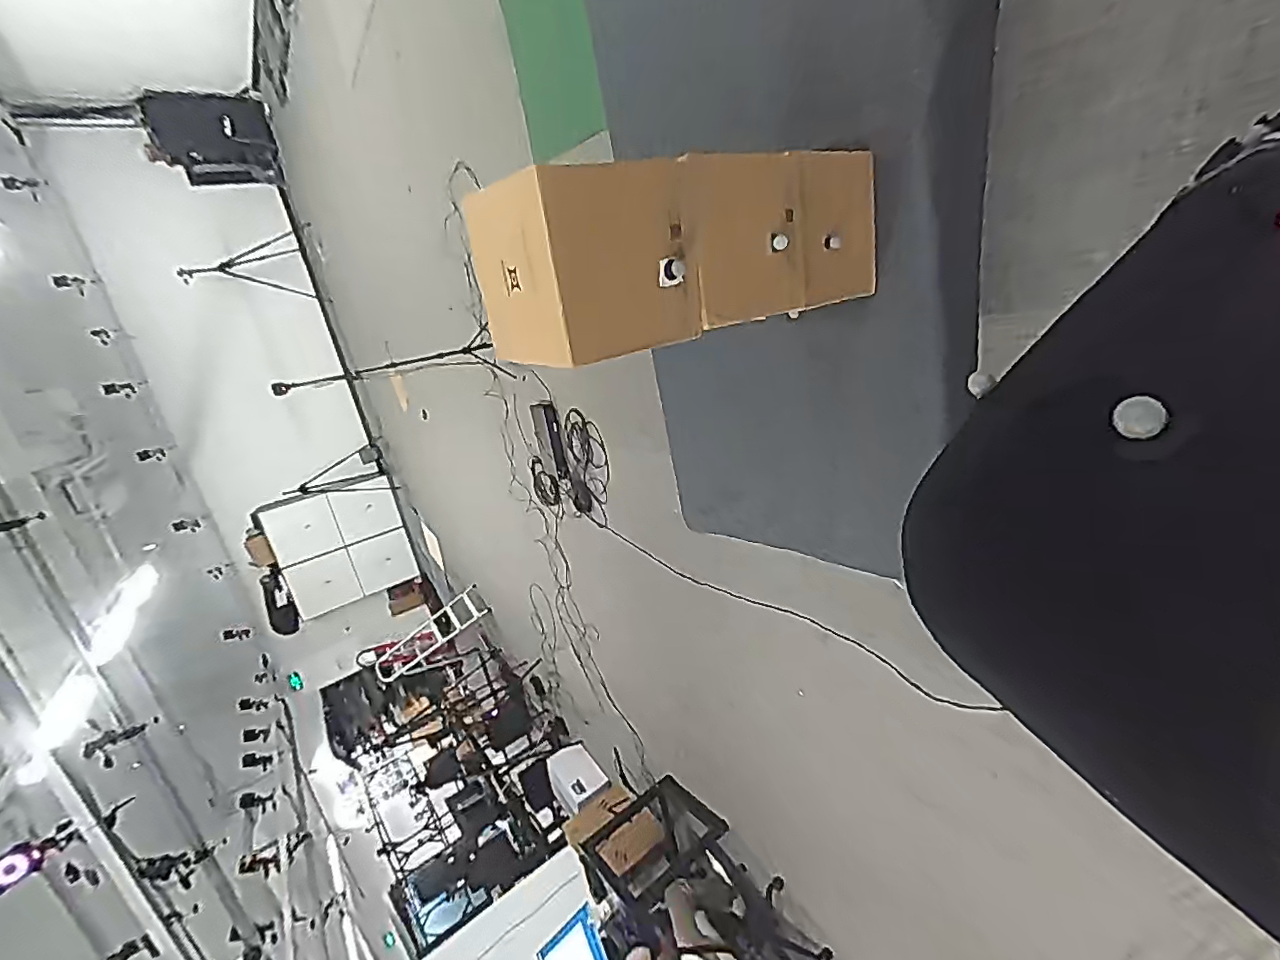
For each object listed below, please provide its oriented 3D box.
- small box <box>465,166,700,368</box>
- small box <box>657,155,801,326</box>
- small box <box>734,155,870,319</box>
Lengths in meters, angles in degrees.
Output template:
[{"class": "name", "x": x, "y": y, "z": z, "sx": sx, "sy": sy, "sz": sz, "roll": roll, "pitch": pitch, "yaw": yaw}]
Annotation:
[{"class": "small box", "x": -0.059, "y": -0.223, "z": 0.577, "sx": 0.179, "sy": 0.176, "sz": 0.168, "roll": 19, "pitch": 126, "yaw": 50}, {"class": "small box", "x": 0.069, "y": -0.277, "z": 0.660, "sx": 0.179, "sy": 0.176, "sz": 0.168, "roll": 14, "pitch": 120, "yaw": 56}, {"class": "small box", "x": 0.198, "y": -0.329, "z": 0.747, "sx": 0.168, "sy": 0.176, "sz": 0.179, "roll": 16, "pitch": 123, "yaw": 53}]
